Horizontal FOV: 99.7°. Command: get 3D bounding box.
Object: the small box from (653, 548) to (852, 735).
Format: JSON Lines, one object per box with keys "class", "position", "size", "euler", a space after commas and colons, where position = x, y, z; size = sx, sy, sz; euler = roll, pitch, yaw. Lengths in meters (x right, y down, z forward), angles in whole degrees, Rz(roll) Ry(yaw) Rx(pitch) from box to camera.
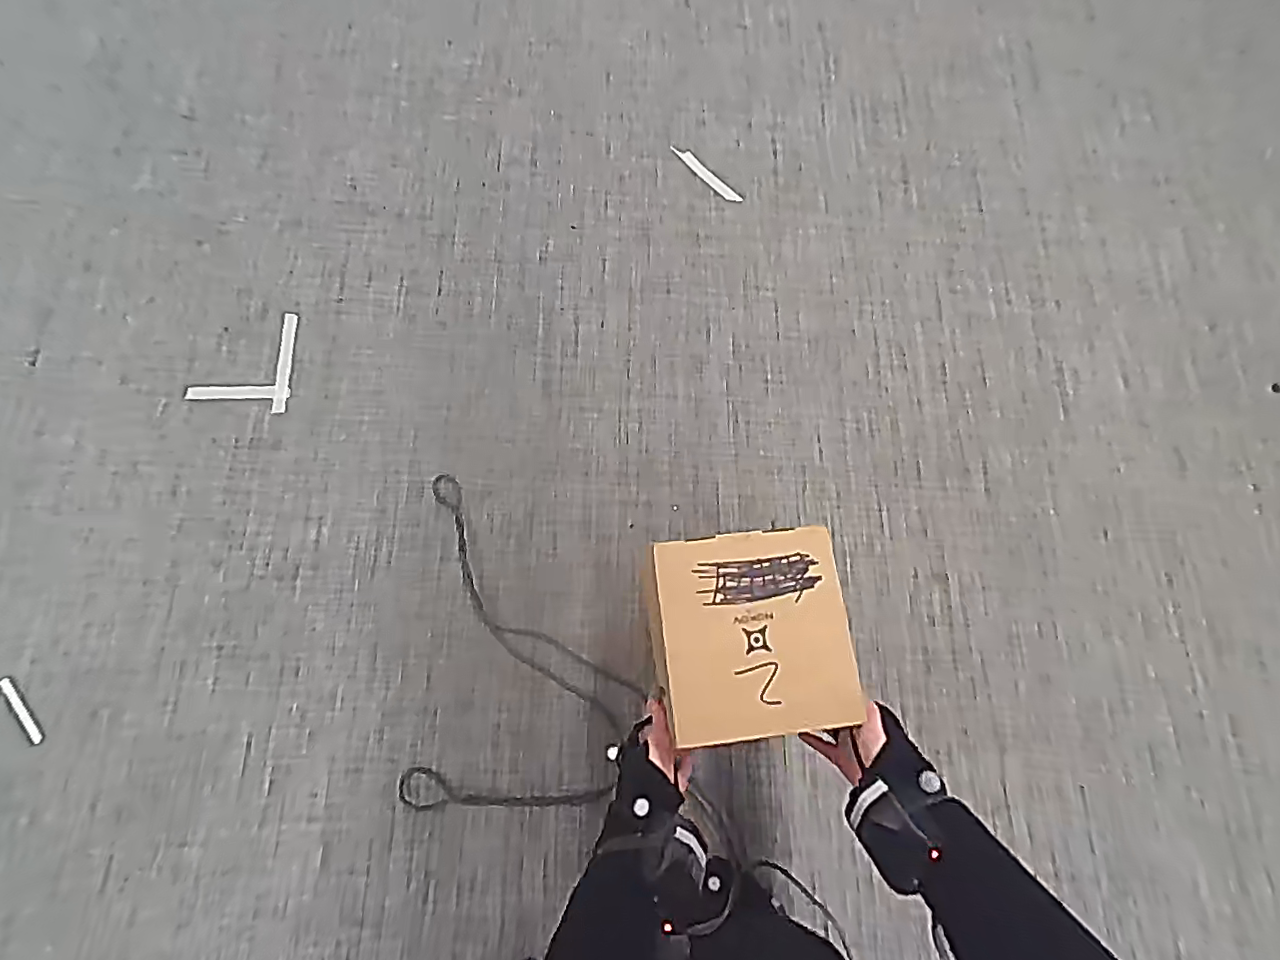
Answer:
{"class": "small box", "position": [0.129, 0.199, 0.667], "size": [0.168, 0.176, 0.179], "euler": [4, 56, -20]}
